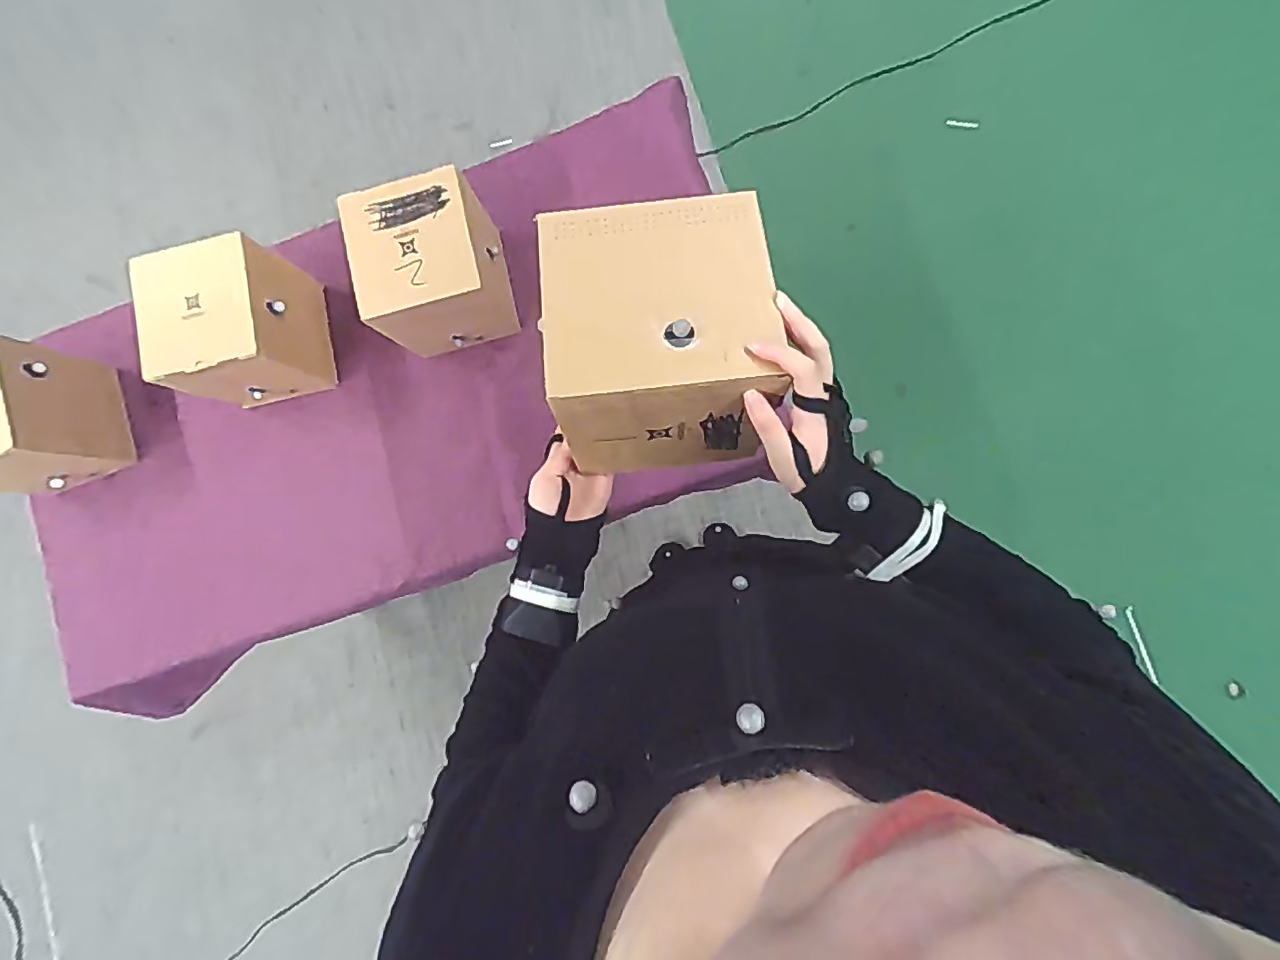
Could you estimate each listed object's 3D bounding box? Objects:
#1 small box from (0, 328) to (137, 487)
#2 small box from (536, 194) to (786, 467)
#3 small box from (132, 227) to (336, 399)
[{"bbox_3d":[-0.927,-0.099,0.817,0.168,0.176,0.179,-19,84,4],"label":"small box"},{"bbox_3d":[0.012,-0.123,0.477,0.179,0.168,0.176,-5,72,1],"label":"small box"},{"bbox_3d":[-0.586,-0.234,0.799,0.168,0.176,0.179,-12,86,5],"label":"small box"}]
